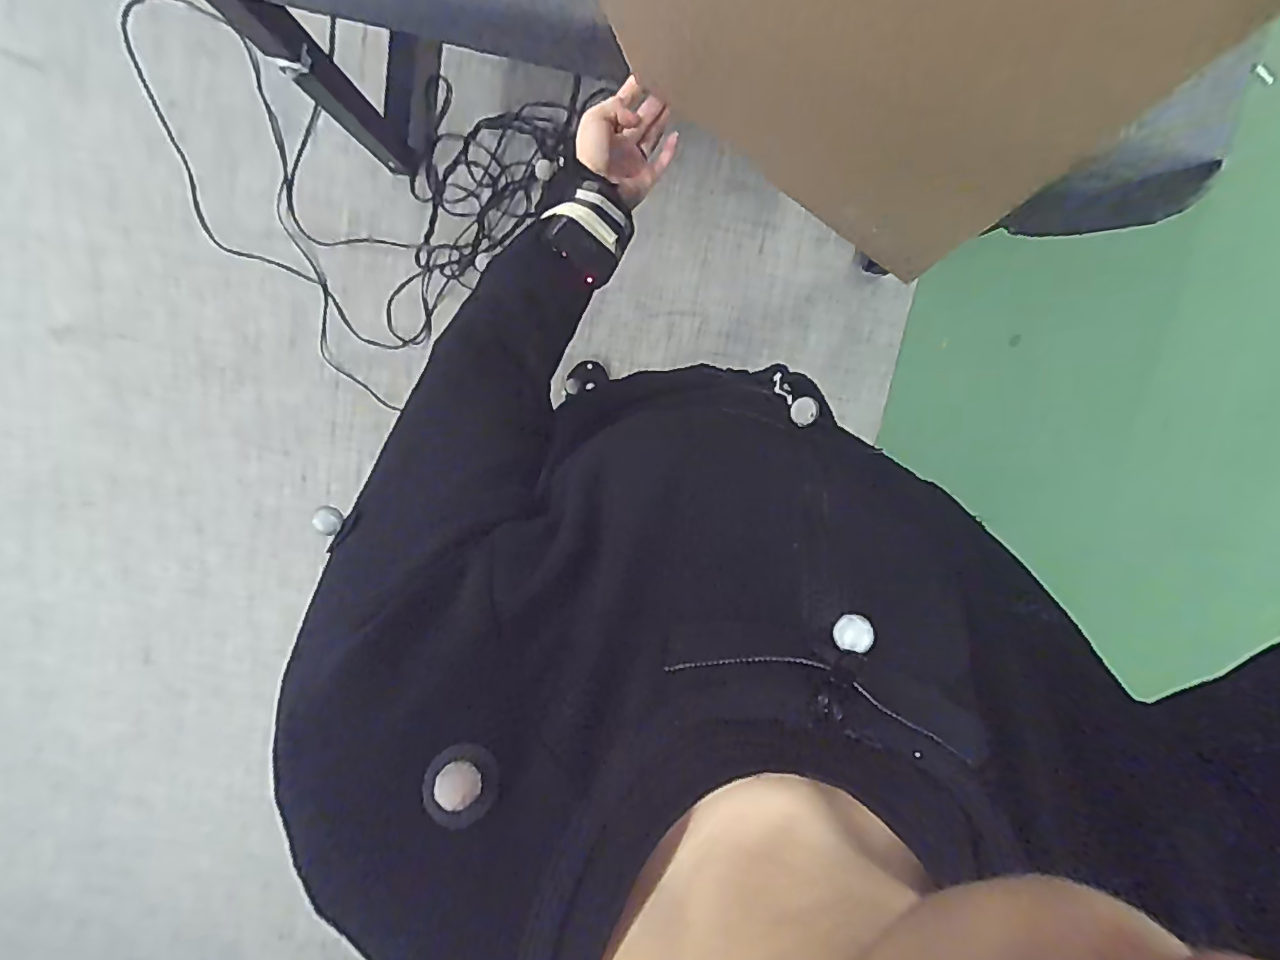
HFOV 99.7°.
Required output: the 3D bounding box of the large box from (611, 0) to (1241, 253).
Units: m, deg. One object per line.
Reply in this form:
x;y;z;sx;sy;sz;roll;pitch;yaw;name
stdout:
0.157;-0.365;0.256;0.320;0.408;0.320;38;107;3;large box
